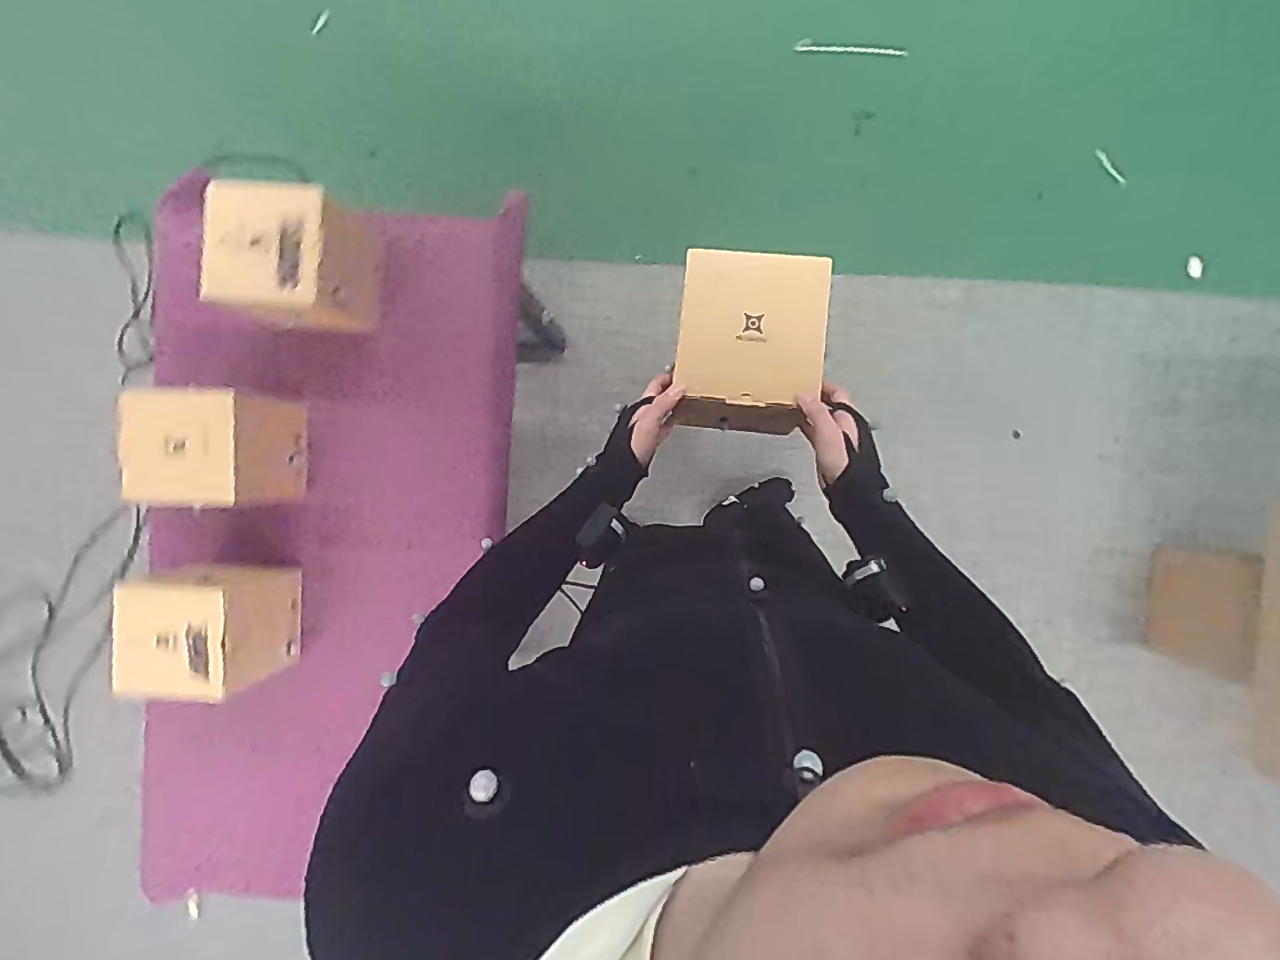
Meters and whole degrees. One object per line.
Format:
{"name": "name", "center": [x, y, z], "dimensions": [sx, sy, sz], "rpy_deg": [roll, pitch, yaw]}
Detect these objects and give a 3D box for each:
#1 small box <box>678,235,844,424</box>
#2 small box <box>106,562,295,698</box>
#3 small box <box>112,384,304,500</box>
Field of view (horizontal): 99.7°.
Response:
{"name": "small box", "center": [0.140, -0.177, 0.681], "dimensions": [0.168, 0.176, 0.179], "rpy_deg": [7, 88, 3]}
{"name": "small box", "center": [-0.686, 0.228, 0.862], "dimensions": [0.179, 0.176, 0.168], "rpy_deg": [2, 91, 3]}
{"name": "small box", "center": [-0.672, -0.057, 0.855], "dimensions": [0.179, 0.176, 0.168], "rpy_deg": [1, 93, 2]}
